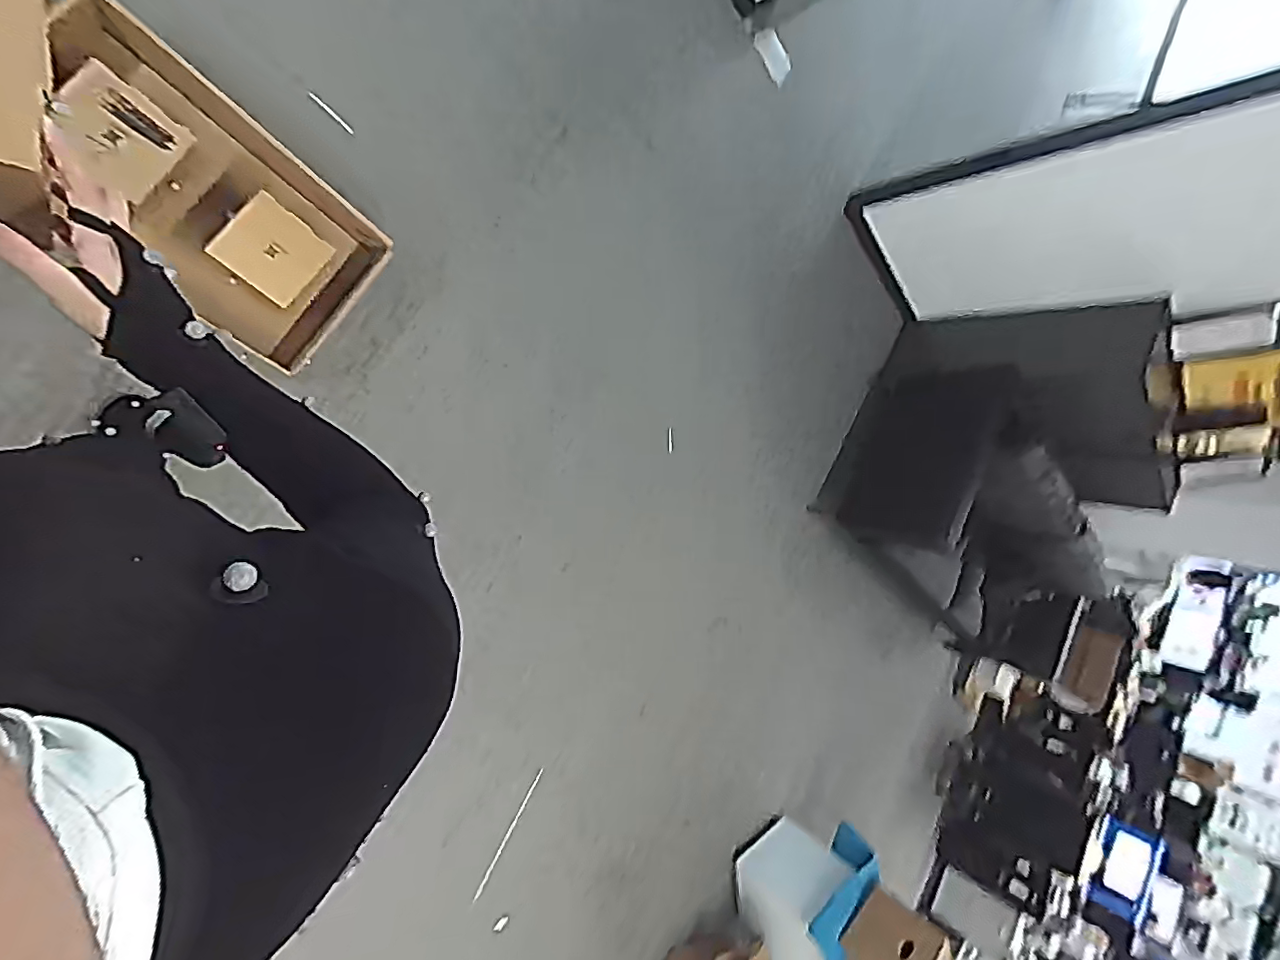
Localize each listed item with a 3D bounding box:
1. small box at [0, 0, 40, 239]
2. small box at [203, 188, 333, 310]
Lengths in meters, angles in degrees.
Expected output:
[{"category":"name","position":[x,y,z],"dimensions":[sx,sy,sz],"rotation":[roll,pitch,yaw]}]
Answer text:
[{"category":"small box","position":[-0.568,-0.305,0.394],"dimensions":[0.168,0.176,0.179],"rotation":[-2,88,-45]},{"category":"small box","position":[-0.821,-0.500,1.199],"dimensions":[0.168,0.176,0.179],"rotation":[41,73,-35]}]
